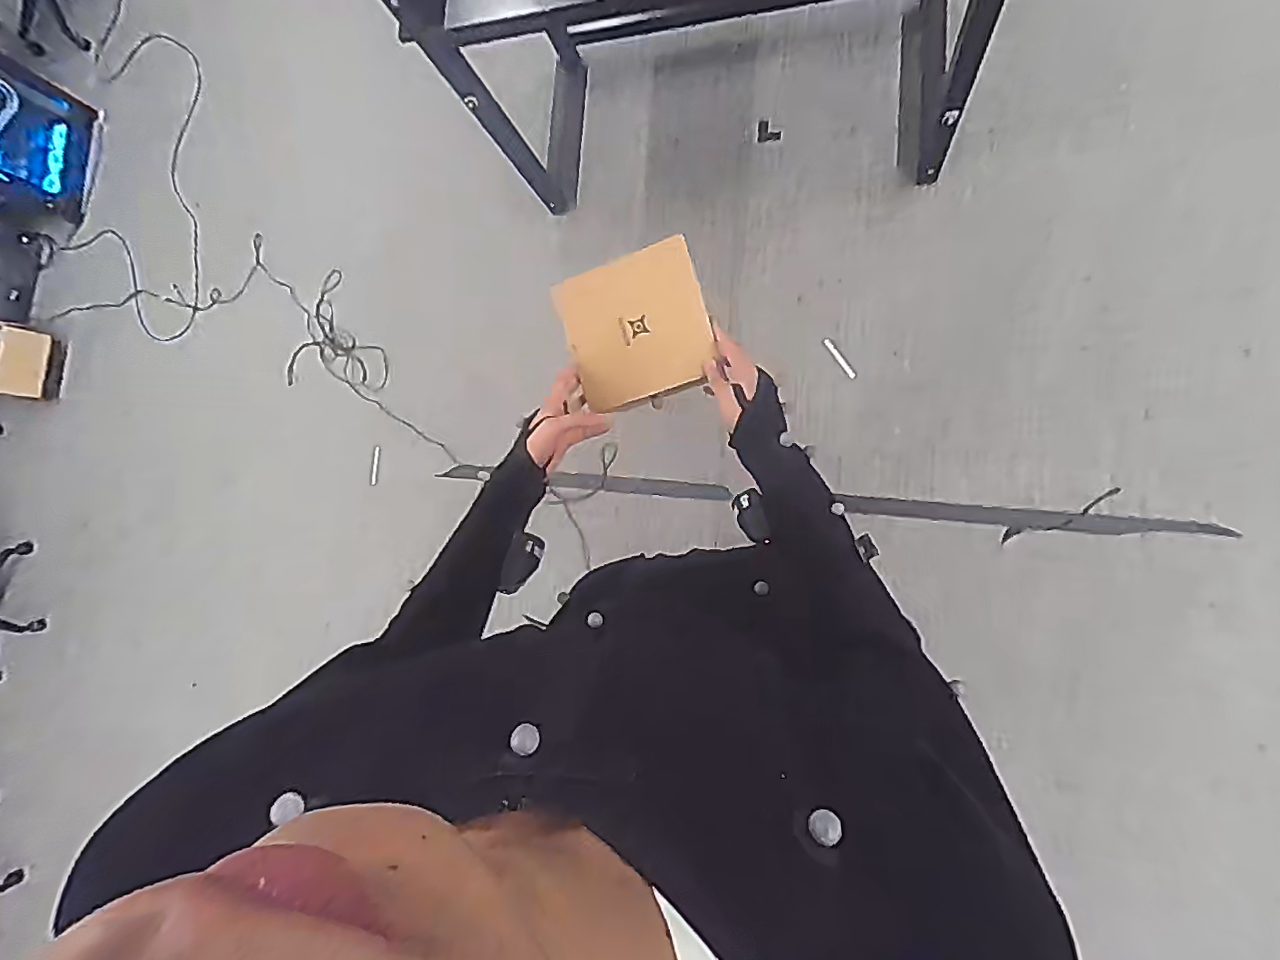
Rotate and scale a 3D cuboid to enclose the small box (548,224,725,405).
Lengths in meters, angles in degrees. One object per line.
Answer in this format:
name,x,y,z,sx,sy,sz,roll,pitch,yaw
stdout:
small box,0.008,-0.208,0.718,0.179,0.176,0.168,-17,97,15
